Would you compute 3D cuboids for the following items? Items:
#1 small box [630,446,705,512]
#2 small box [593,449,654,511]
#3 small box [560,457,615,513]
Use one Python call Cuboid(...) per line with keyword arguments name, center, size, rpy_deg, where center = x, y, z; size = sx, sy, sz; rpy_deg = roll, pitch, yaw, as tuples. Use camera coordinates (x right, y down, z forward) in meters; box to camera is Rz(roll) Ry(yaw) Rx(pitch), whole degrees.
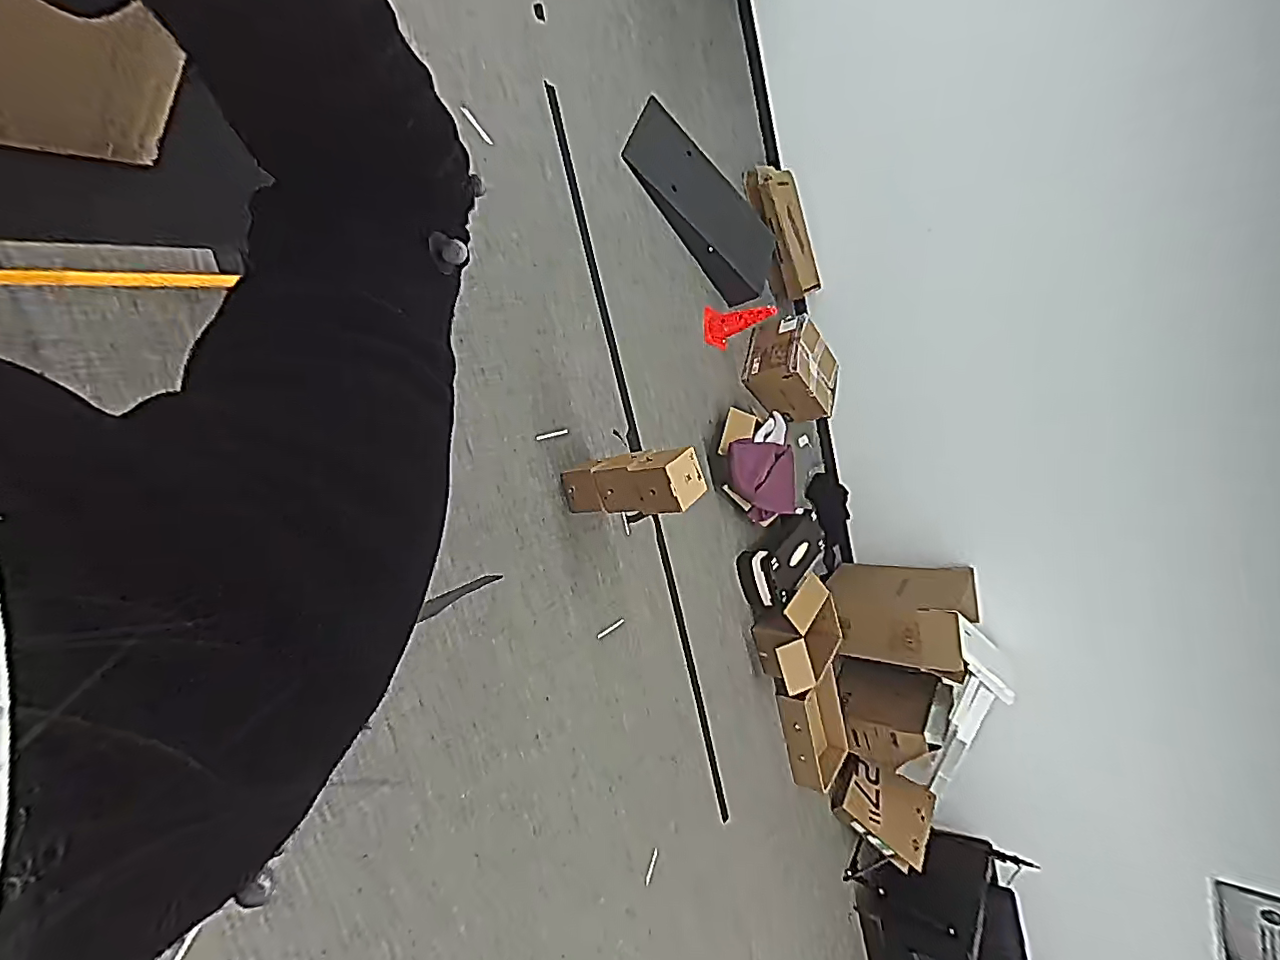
Cuboid(name="small box", center=(0.086, 0.001, 1.822), size=(0.179, 0.176, 0.168), rpy_deg=(-36, 111, -45))
Cuboid(name="small box", center=(-0.038, 0.002, 1.931), size=(0.179, 0.176, 0.168), rpy_deg=(-34, 109, -46))
Cuboid(name="small box", center=(-0.170, 0.016, 2.030), size=(0.179, 0.176, 0.168), rpy_deg=(-27, 104, -46))
